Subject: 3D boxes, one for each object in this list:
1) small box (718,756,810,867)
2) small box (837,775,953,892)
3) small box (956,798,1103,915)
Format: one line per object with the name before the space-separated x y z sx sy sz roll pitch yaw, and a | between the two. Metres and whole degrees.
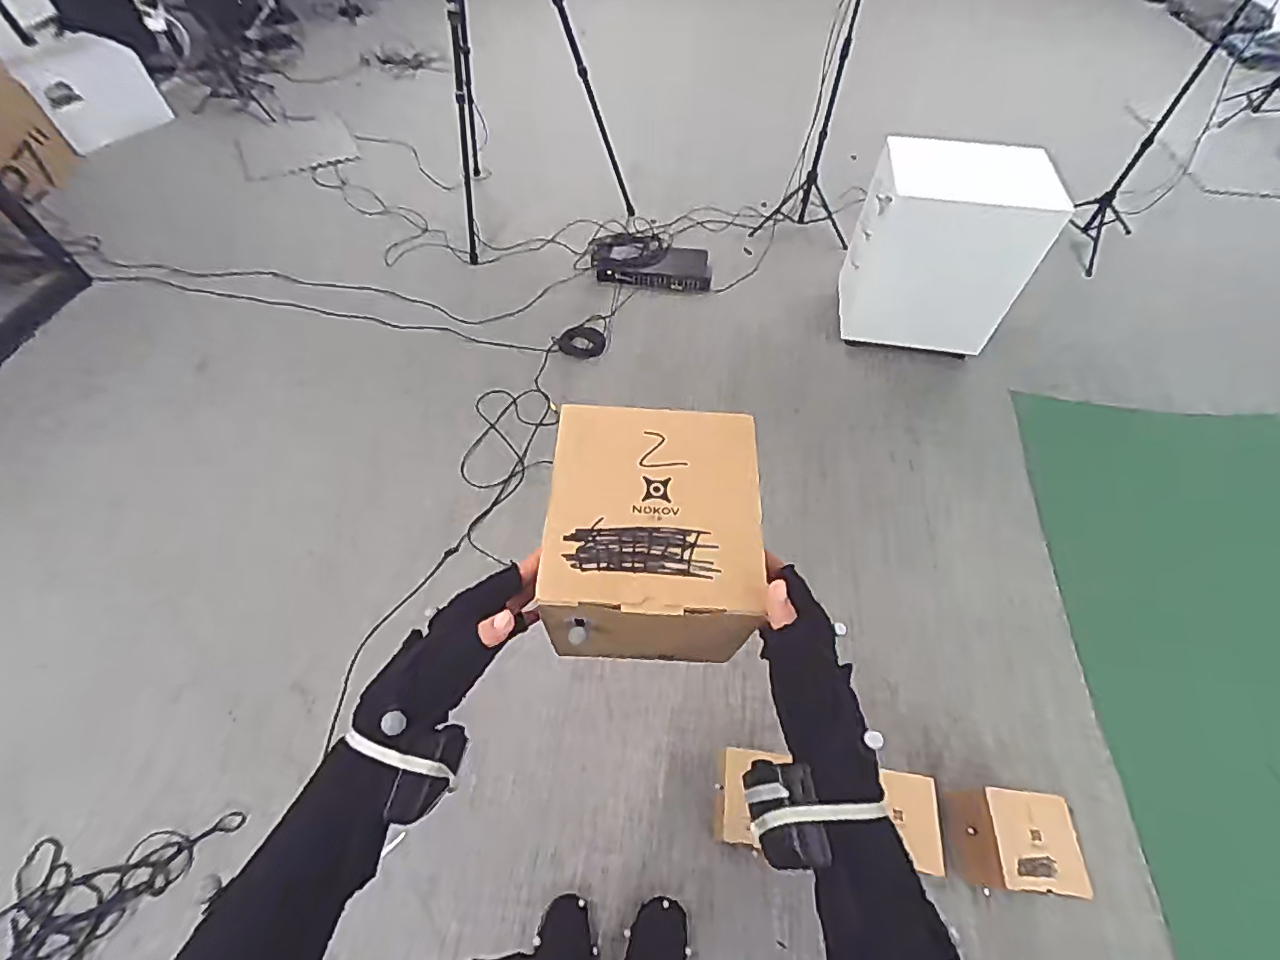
small box | 0.261 0.714 1.163 0.168 0.176 0.179 6 55 5
small box | 0.527 0.747 1.145 0.168 0.176 0.179 8 55 5
small box | 0.793 0.778 1.124 0.168 0.176 0.179 5 54 3
